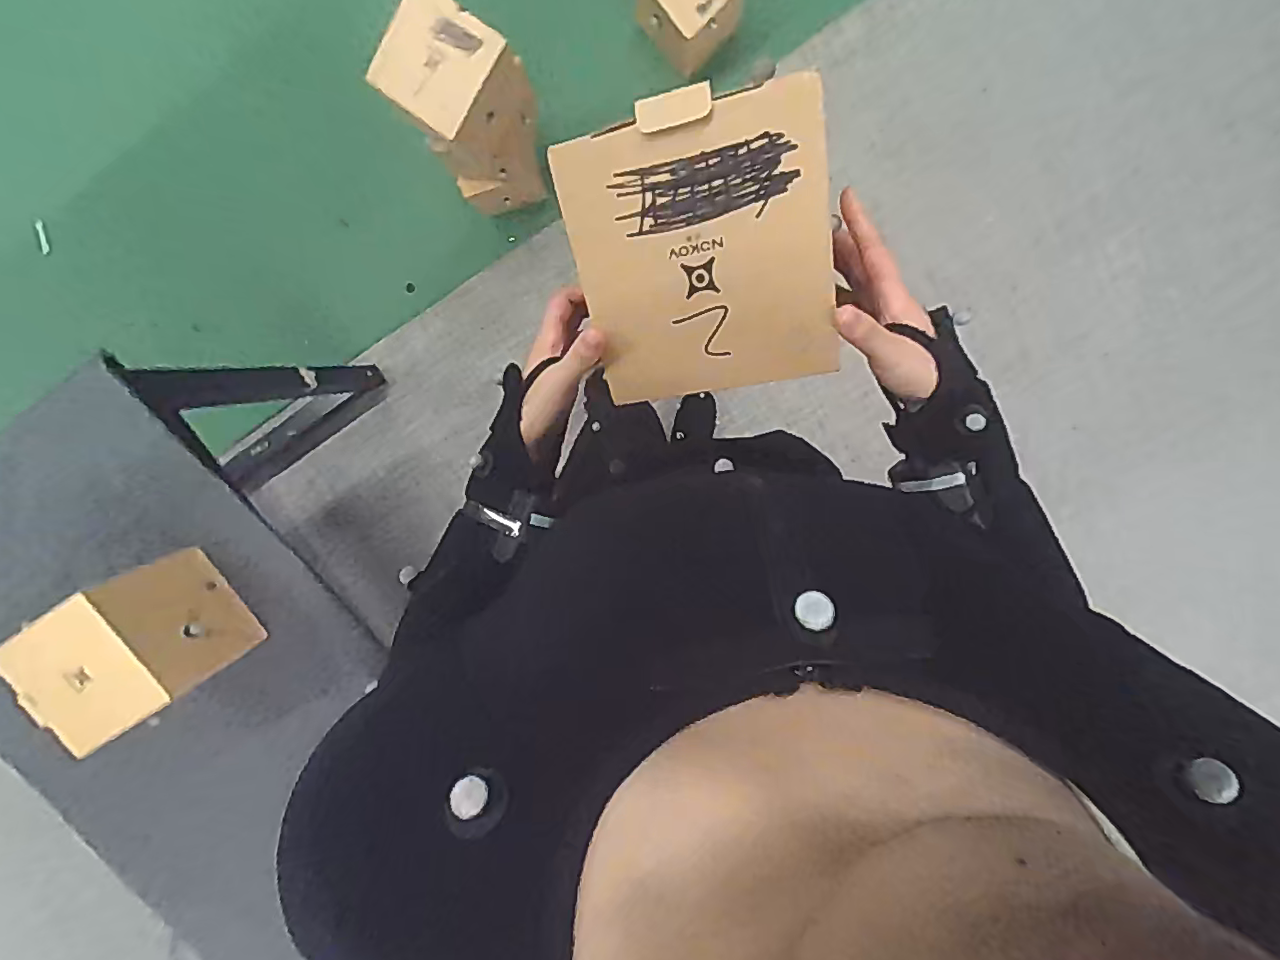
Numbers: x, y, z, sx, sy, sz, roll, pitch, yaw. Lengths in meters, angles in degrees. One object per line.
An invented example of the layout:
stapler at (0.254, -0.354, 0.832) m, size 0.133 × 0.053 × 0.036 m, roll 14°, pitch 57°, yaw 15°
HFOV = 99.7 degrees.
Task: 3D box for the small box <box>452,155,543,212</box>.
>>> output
small box at (-0.337, -0.742, 1.248) m, size 0.168 × 0.176 × 0.179 m, roll -15°, pitch 101°, yaw 4°

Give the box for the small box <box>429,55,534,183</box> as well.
small box at (-0.312, -0.718, 1.087) m, size 0.168 × 0.176 × 0.179 m, roll 5°, pitch 102°, yaw -1°

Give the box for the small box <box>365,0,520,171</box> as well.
small box at (-0.323, -0.678, 0.927) m, size 0.168 × 0.176 × 0.179 m, roll 34°, pitch 102°, yaw -7°

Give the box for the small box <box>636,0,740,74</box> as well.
small box at (0.100, -1.043, 1.169) m, size 0.168 × 0.176 × 0.179 m, roll -41°, pitch 97°, yaw 9°

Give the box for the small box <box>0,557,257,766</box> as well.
small box at (-0.666, 0.230, 0.725) m, size 0.179 × 0.176 × 0.168 m, roll -32°, pitch 100°, yaw 10°
